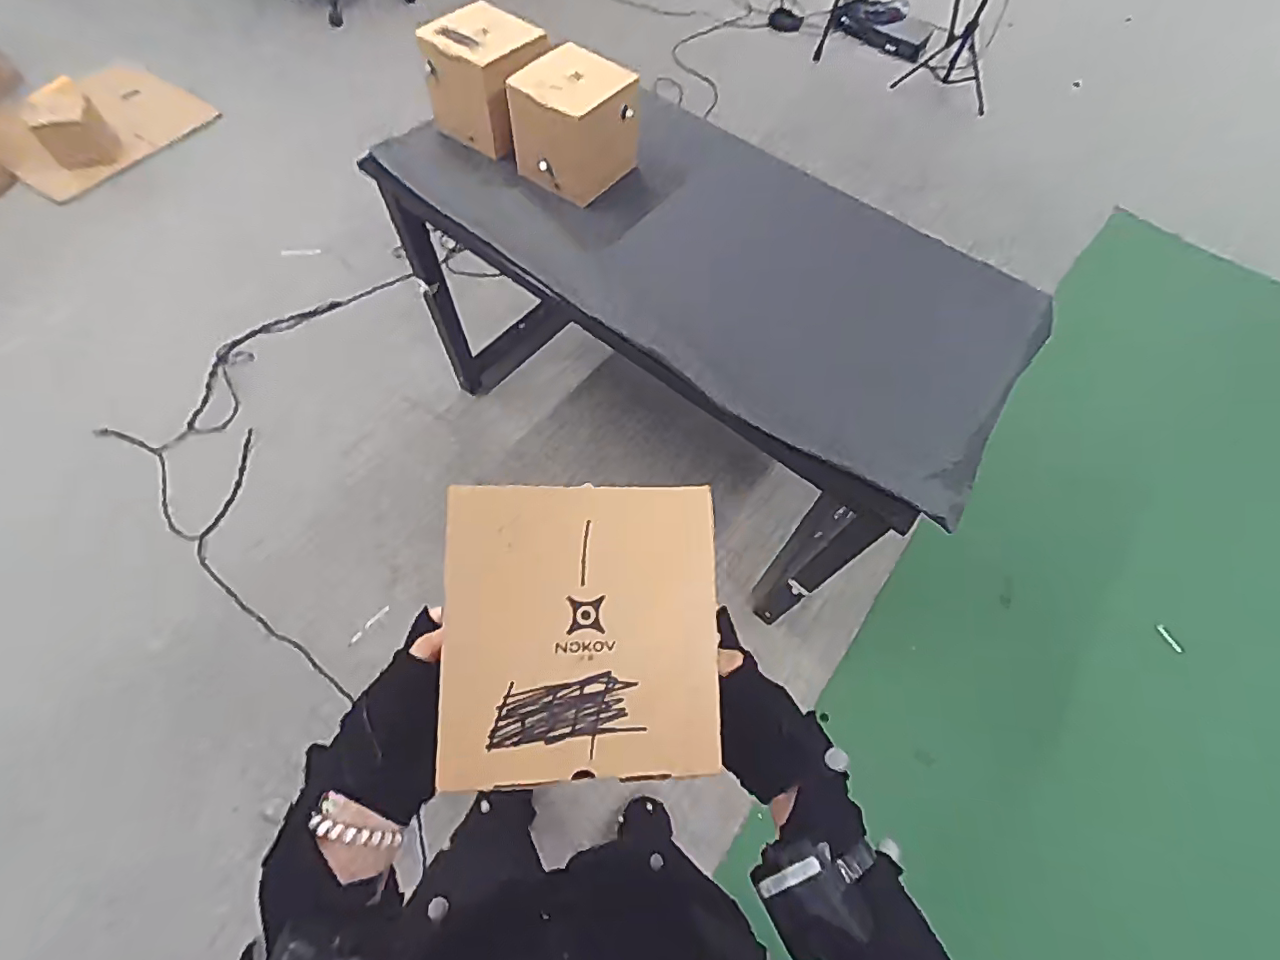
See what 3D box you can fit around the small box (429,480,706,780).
[{"bbox_3d":[-0.050,0.098,0.407,0.168,0.176,0.179,0,81,-7],"label":"small box"}]
